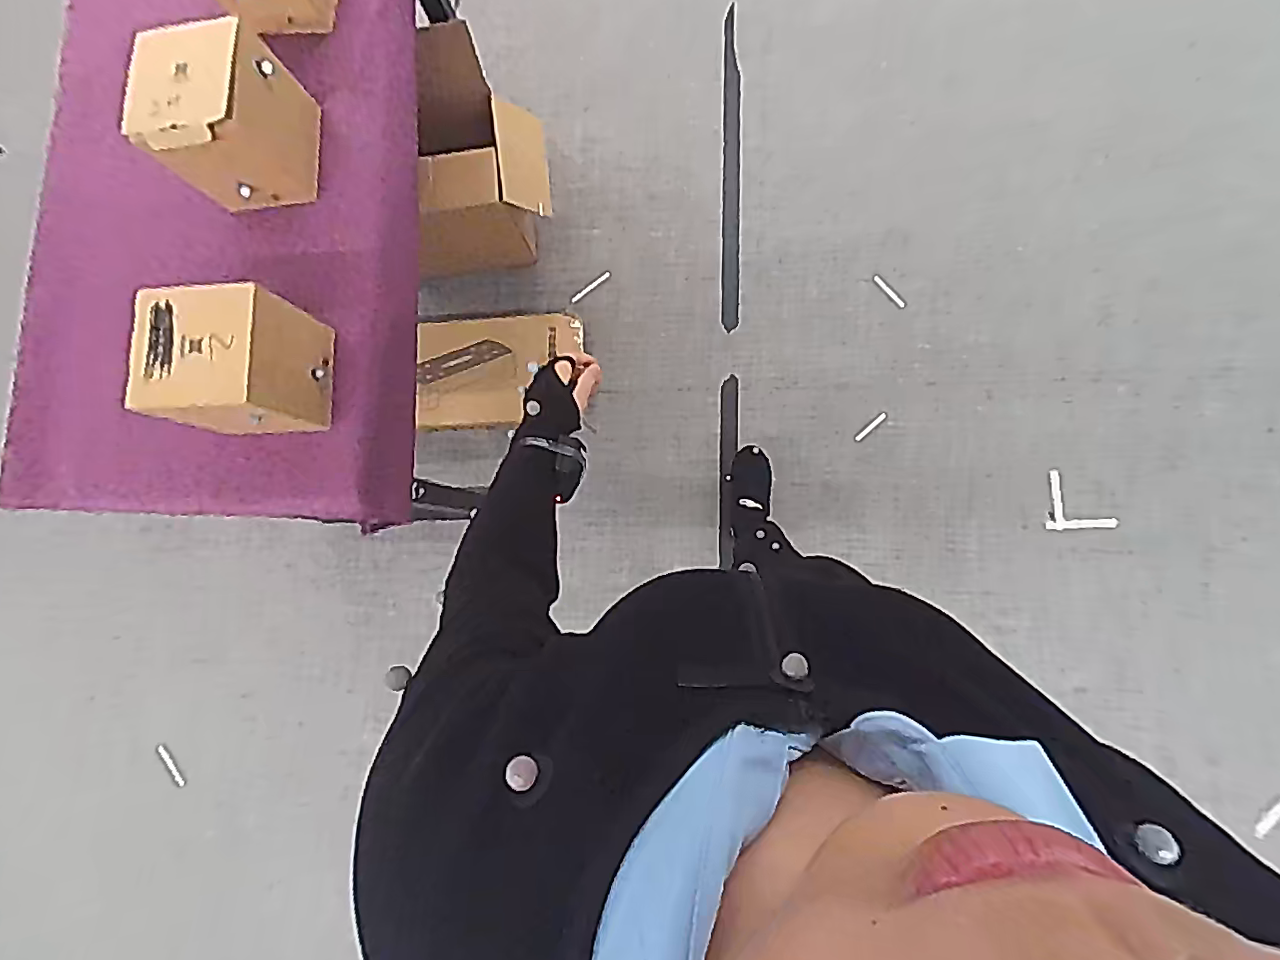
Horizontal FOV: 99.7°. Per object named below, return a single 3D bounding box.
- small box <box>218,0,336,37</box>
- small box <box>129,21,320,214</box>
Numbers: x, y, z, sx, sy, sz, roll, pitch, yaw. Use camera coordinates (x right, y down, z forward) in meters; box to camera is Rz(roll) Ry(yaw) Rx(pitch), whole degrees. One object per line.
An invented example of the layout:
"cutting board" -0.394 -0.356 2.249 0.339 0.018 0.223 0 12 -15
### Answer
"small box" -0.614 -0.866 0.878 0.168 0.176 0.179 5 83 6
"small box" -0.629 -0.550 0.841 0.168 0.176 0.179 -3 83 8
